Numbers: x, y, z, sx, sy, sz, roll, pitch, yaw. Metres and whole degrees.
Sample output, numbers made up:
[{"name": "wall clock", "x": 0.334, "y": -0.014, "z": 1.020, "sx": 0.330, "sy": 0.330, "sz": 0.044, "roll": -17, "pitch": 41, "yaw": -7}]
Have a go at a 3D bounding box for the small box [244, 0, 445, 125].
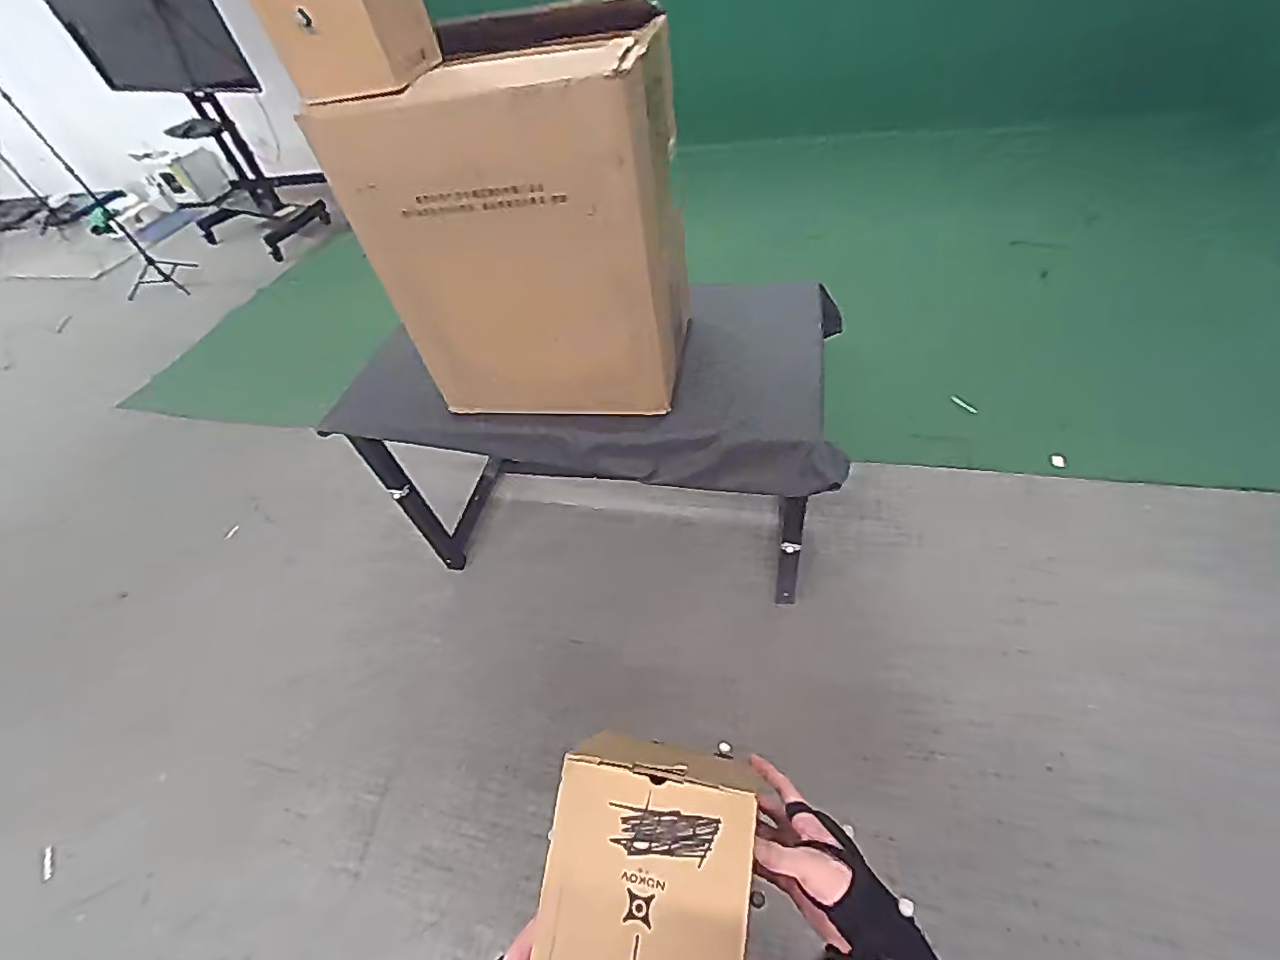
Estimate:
[{"name": "small box", "x": -0.442, "y": -0.676, "z": 0.838, "sx": 0.179, "sy": 0.176, "sz": 0.168, "roll": 0, "pitch": 50, "yaw": 15}]
